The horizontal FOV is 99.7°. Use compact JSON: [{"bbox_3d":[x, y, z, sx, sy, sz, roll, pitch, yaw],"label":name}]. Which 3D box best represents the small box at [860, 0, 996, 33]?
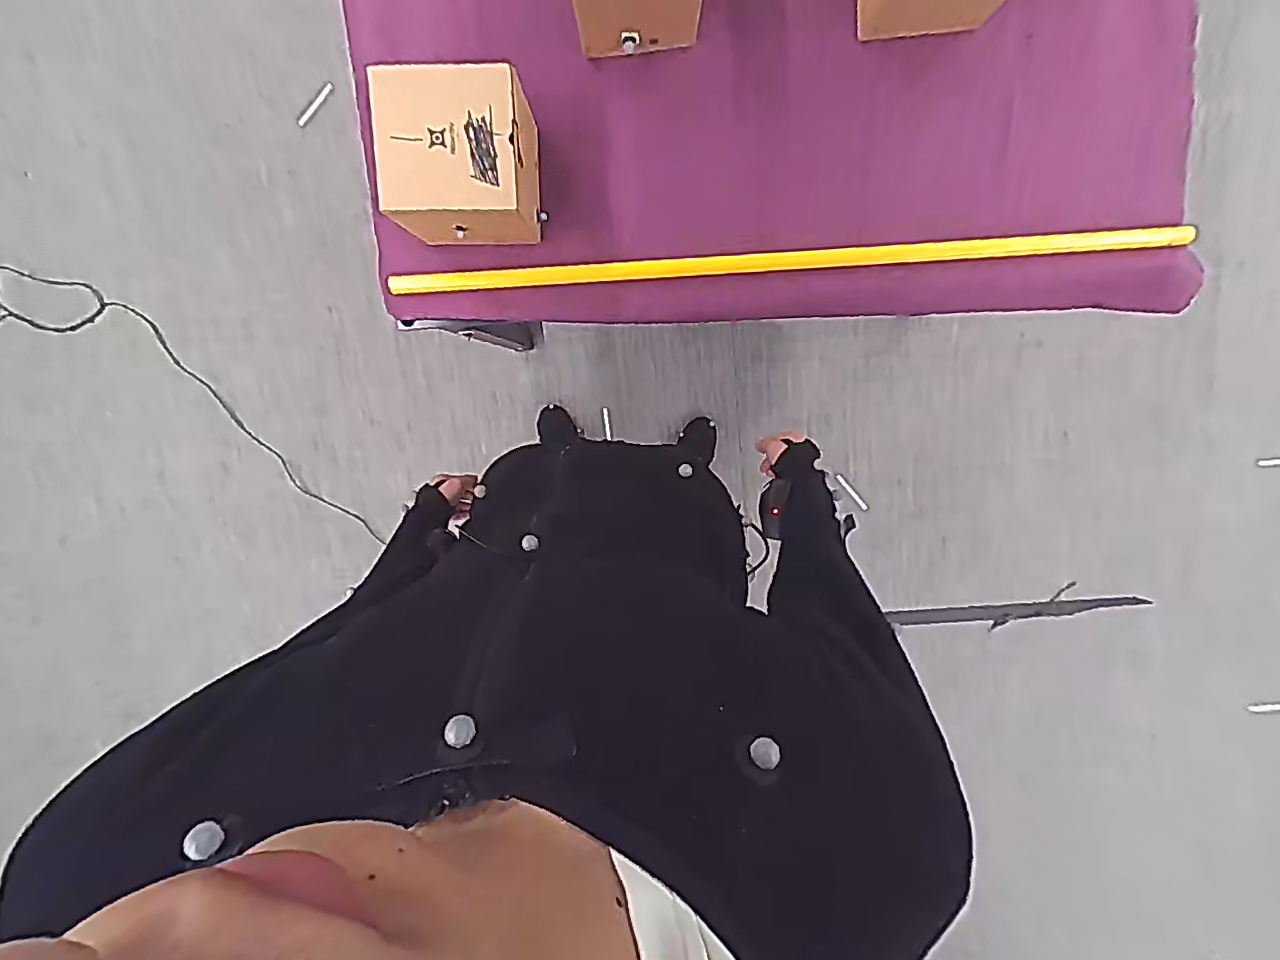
[{"bbox_3d":[0.392,-0.707,0.682,0.179,0.176,0.168,-4,101,1],"label":"small box"}]

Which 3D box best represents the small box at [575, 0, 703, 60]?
[{"bbox_3d":[-0.009,-0.690,0.691,0.168,0.176,0.179,-6,100,3],"label":"small box"}]

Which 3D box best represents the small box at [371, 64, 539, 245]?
[{"bbox_3d":[-0.235,-0.428,0.736,0.179,0.176,0.168,0,100,0],"label":"small box"}]
